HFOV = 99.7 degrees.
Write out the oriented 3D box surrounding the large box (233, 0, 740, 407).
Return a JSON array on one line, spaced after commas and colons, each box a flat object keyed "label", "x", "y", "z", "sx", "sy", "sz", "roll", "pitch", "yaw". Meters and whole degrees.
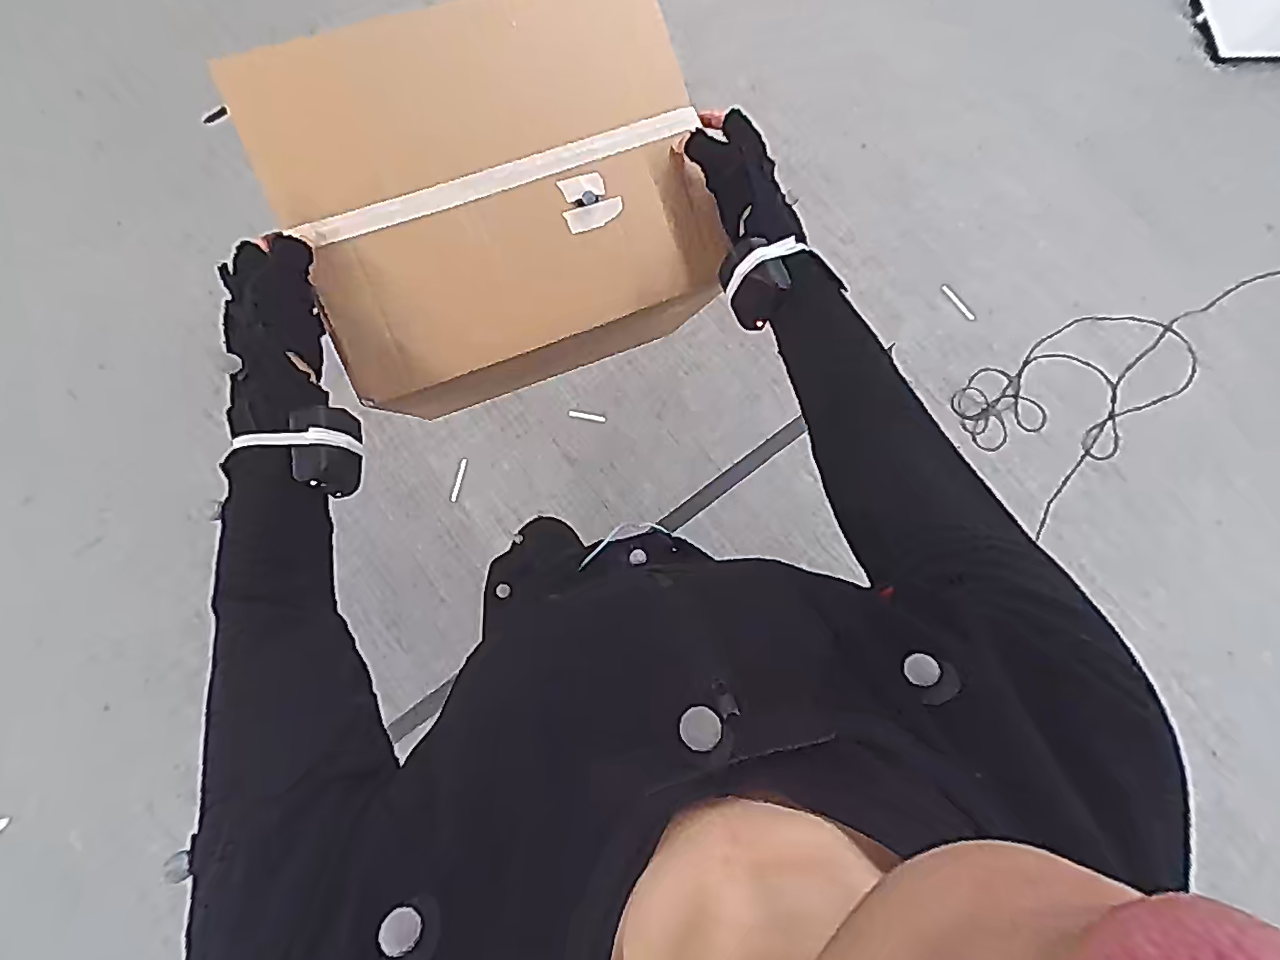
[{"label": "large box", "x": -0.156, "y": -0.310, "z": 0.667, "sx": 0.408, "sy": 0.320, "sz": 0.320, "roll": -22, "pitch": 98, "yaw": -9}]
